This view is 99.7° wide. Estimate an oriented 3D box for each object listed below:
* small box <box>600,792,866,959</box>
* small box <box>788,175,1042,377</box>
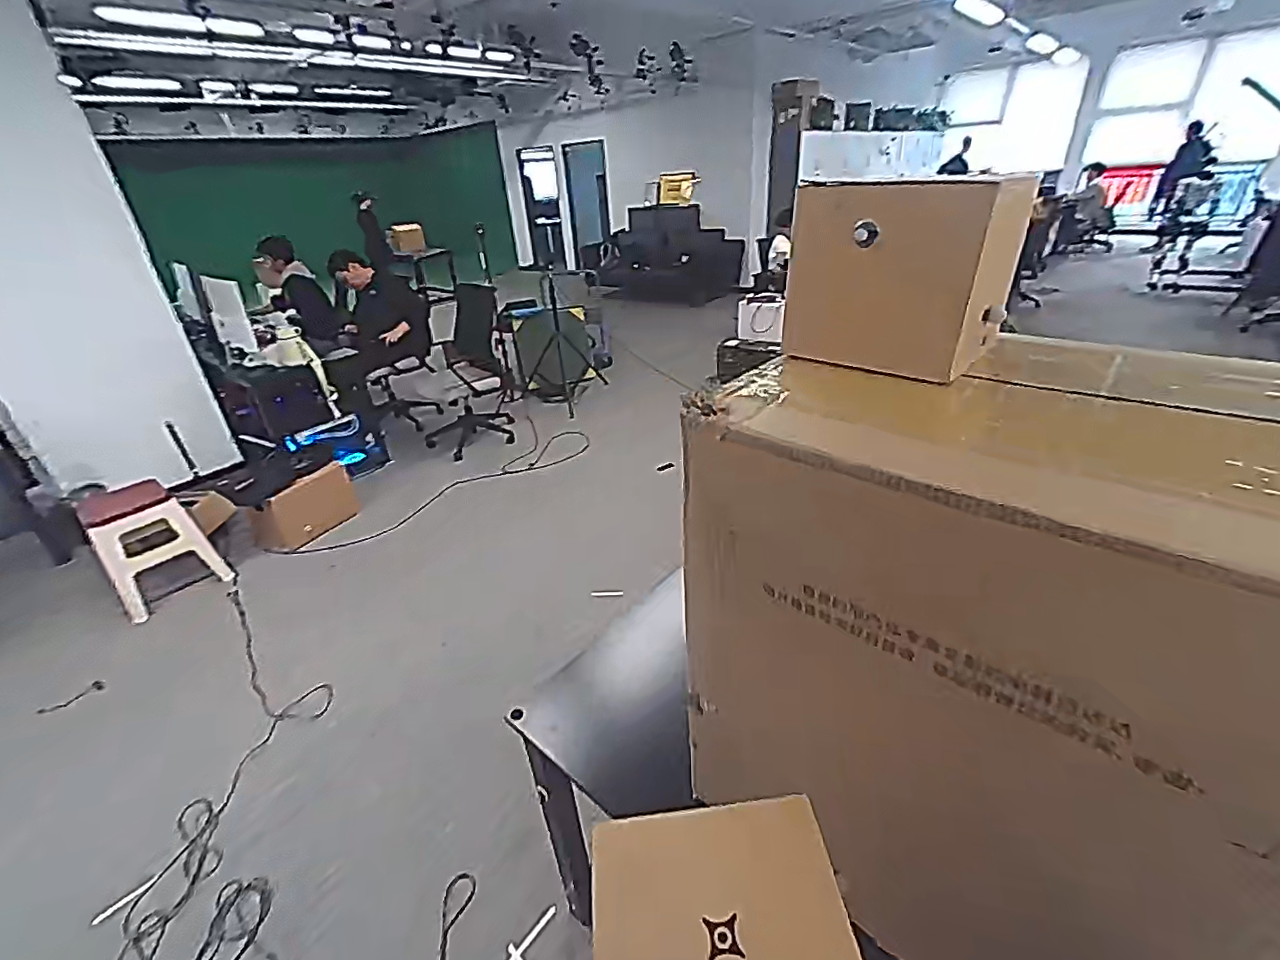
[{"bbox_3d":[0.063,0.359,0.383,0.168,0.176,0.179,-7,34,0],"label":"small box"},{"bbox_3d":[0.270,-0.214,0.556,0.179,0.176,0.168,23,38,37],"label":"small box"}]
